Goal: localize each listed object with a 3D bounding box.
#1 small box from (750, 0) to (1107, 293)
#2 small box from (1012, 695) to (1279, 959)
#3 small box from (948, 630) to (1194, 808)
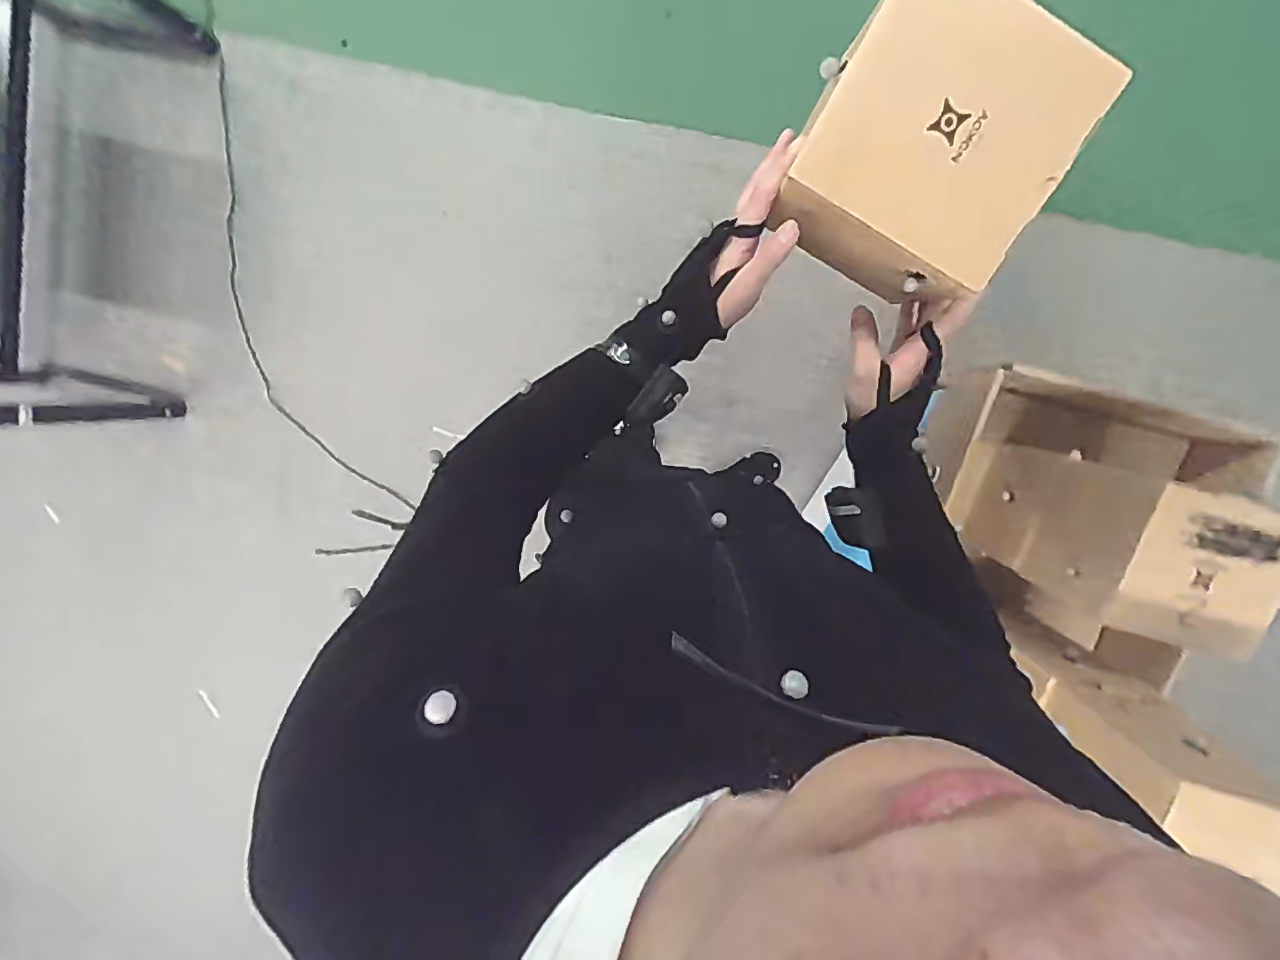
[{"bbox_3d":[0.213,-0.273,0.462,0.179,0.176,0.168,27,106,-5],"label":"small box"},{"bbox_3d":[0.528,0.354,0.551,0.168,0.176,0.179,18,100,5],"label":"small box"},{"bbox_3d":[0.543,0.323,0.713,0.168,0.176,0.179,16,98,5],"label":"small box"}]
